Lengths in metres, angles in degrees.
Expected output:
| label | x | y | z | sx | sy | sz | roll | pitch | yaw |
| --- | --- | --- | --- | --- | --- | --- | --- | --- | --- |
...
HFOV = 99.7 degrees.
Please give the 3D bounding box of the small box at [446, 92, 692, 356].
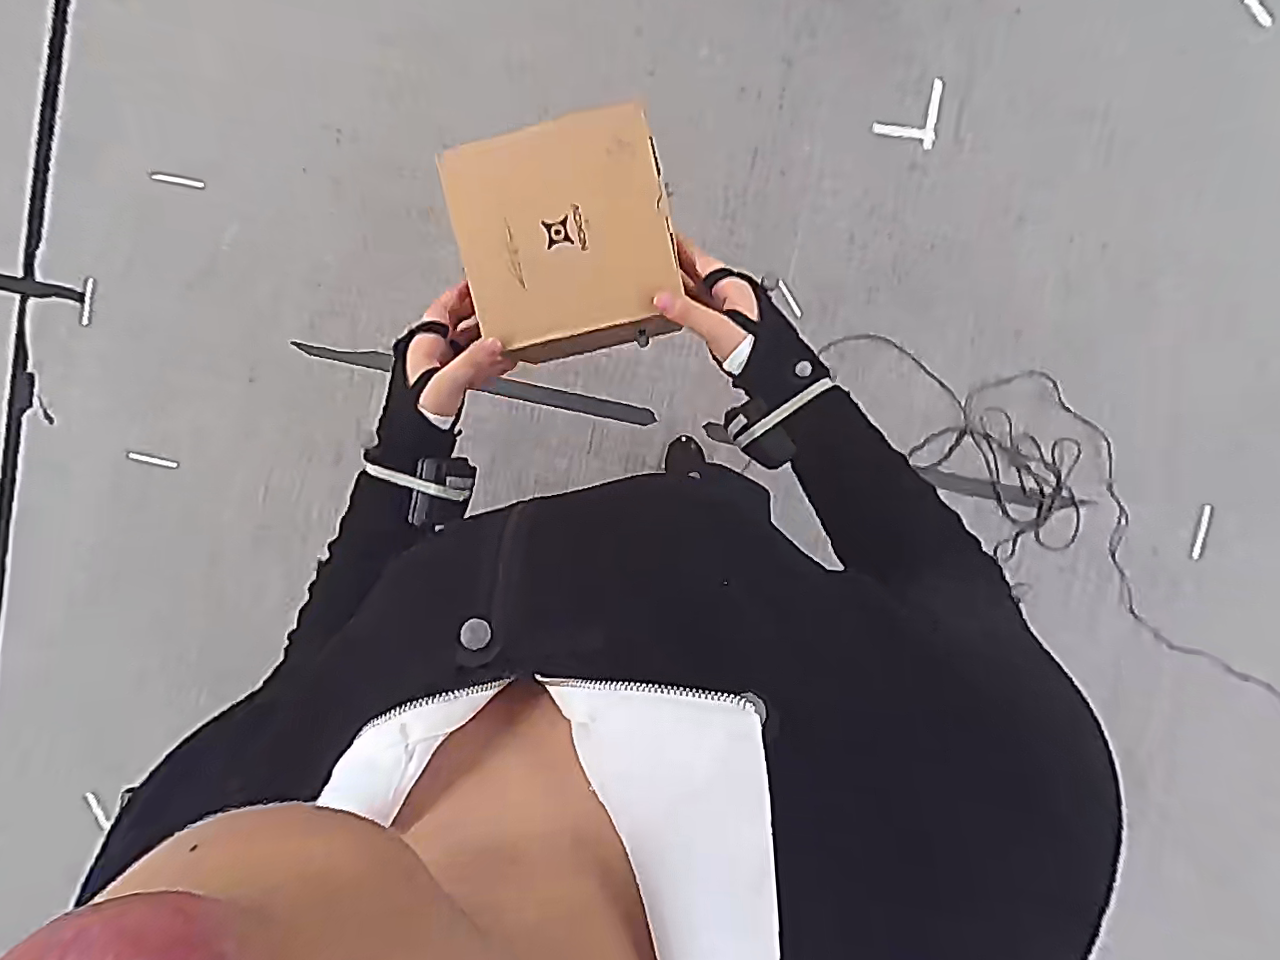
| label | x | y | z | sx | sy | sz | roll | pitch | yaw |
| --- | --- | --- | --- | --- | --- | --- | --- | --- | --- |
| small box | -0.054 | -0.223 | 0.521 | 0.179 | 0.176 | 0.168 | -12 | 97 | 6 |
